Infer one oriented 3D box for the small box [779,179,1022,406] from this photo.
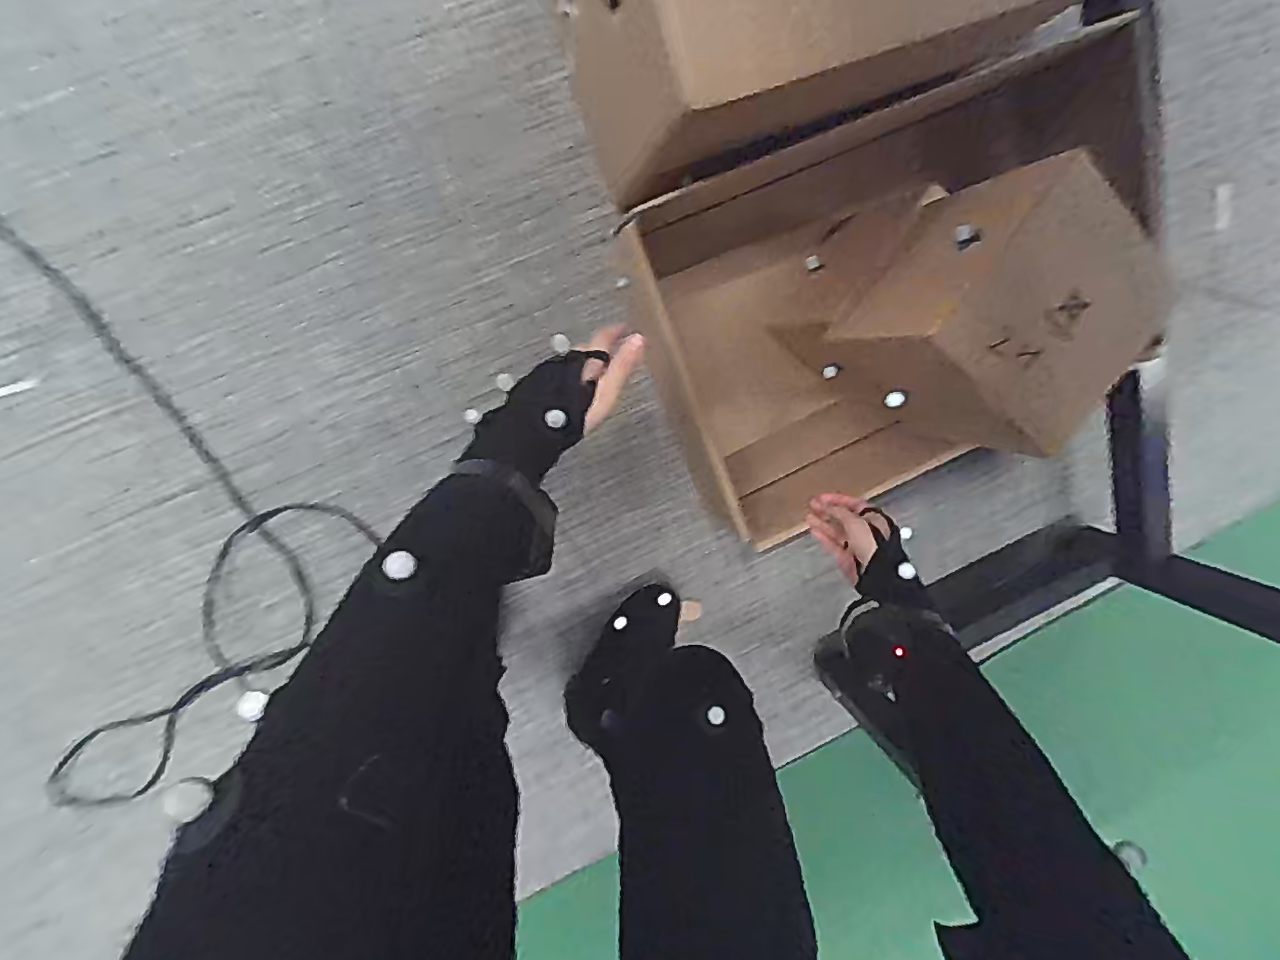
[{"bbox_3d":[0.296,-0.215,0.658,0.168,0.176,0.179,36,94,-19],"label":"small box"}]
